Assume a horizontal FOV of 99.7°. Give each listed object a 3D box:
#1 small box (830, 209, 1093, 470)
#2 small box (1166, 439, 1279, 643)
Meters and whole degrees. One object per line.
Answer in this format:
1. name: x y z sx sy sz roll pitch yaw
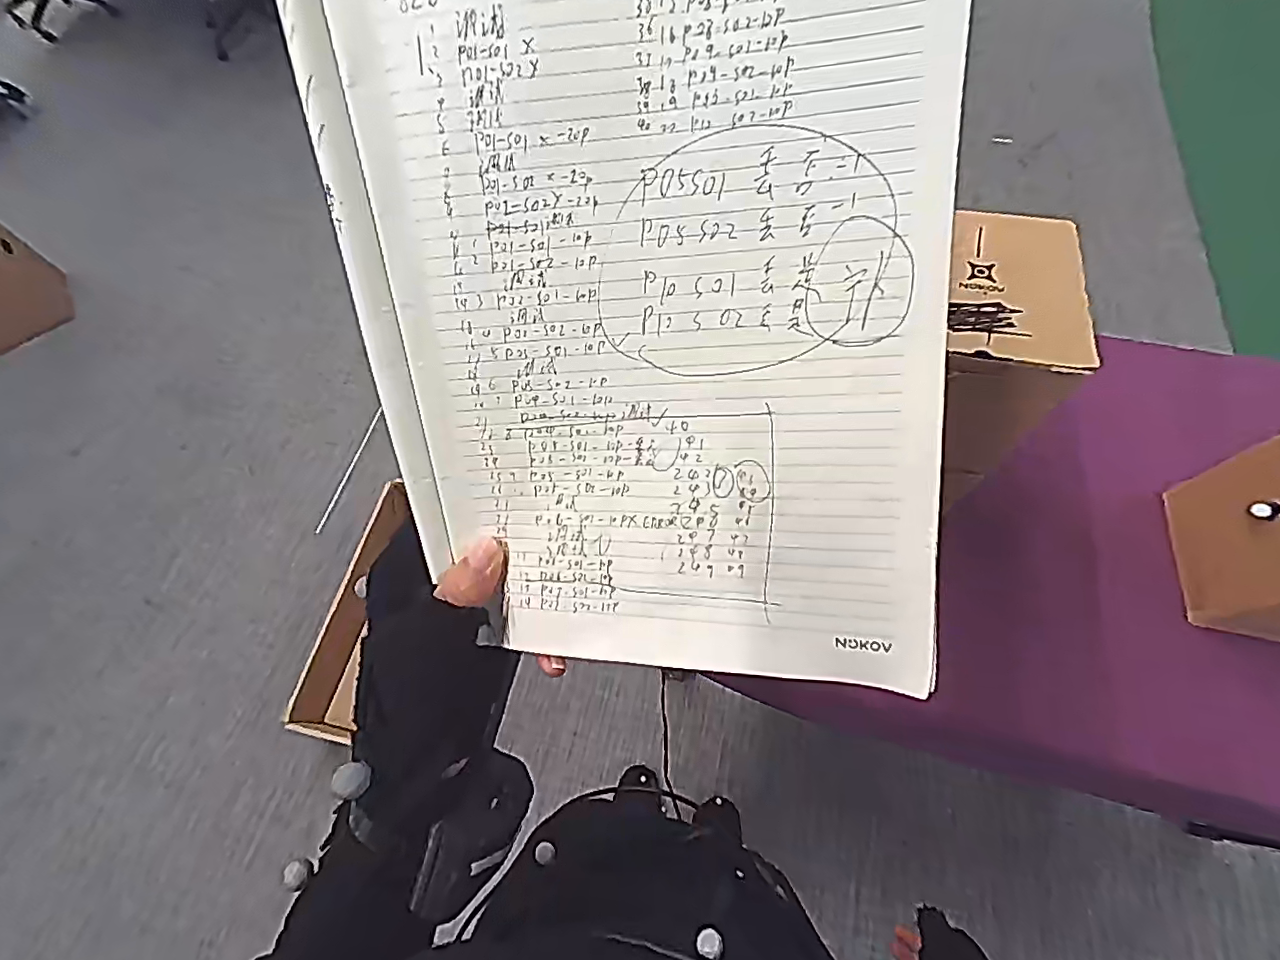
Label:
1. small box: 0.295 -0.130 0.533 0.168 0.176 0.179 12 63 10
2. small box: 0.733 0.080 0.583 0.168 0.176 0.179 10 65 10
